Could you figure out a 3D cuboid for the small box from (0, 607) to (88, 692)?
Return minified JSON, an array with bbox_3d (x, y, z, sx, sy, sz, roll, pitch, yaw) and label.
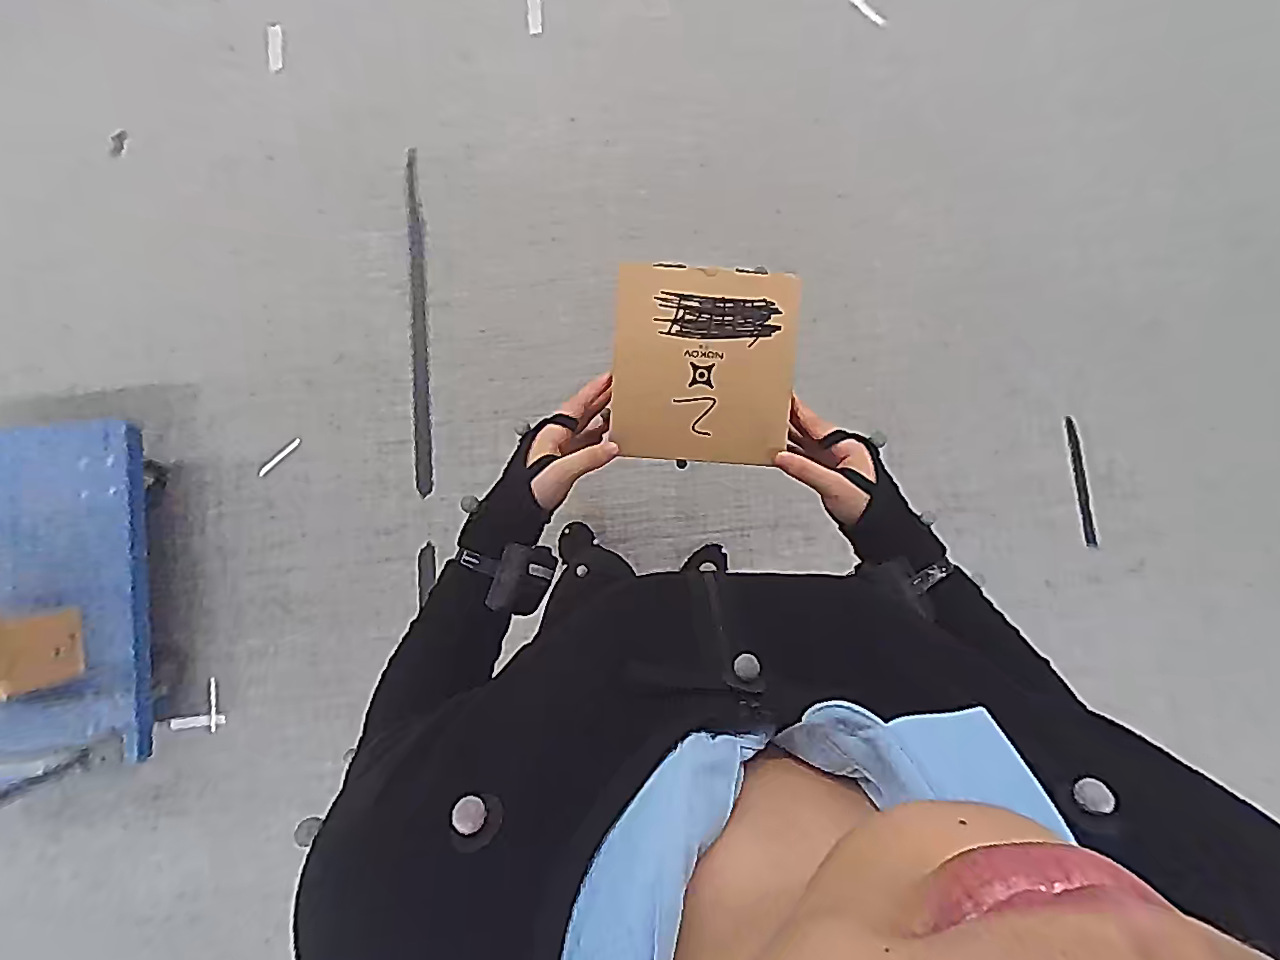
[{"bbox_3d":[-1.451,0.396,1.252,0.179,0.176,0.168,-9,85,0],"label":"small box"}]
